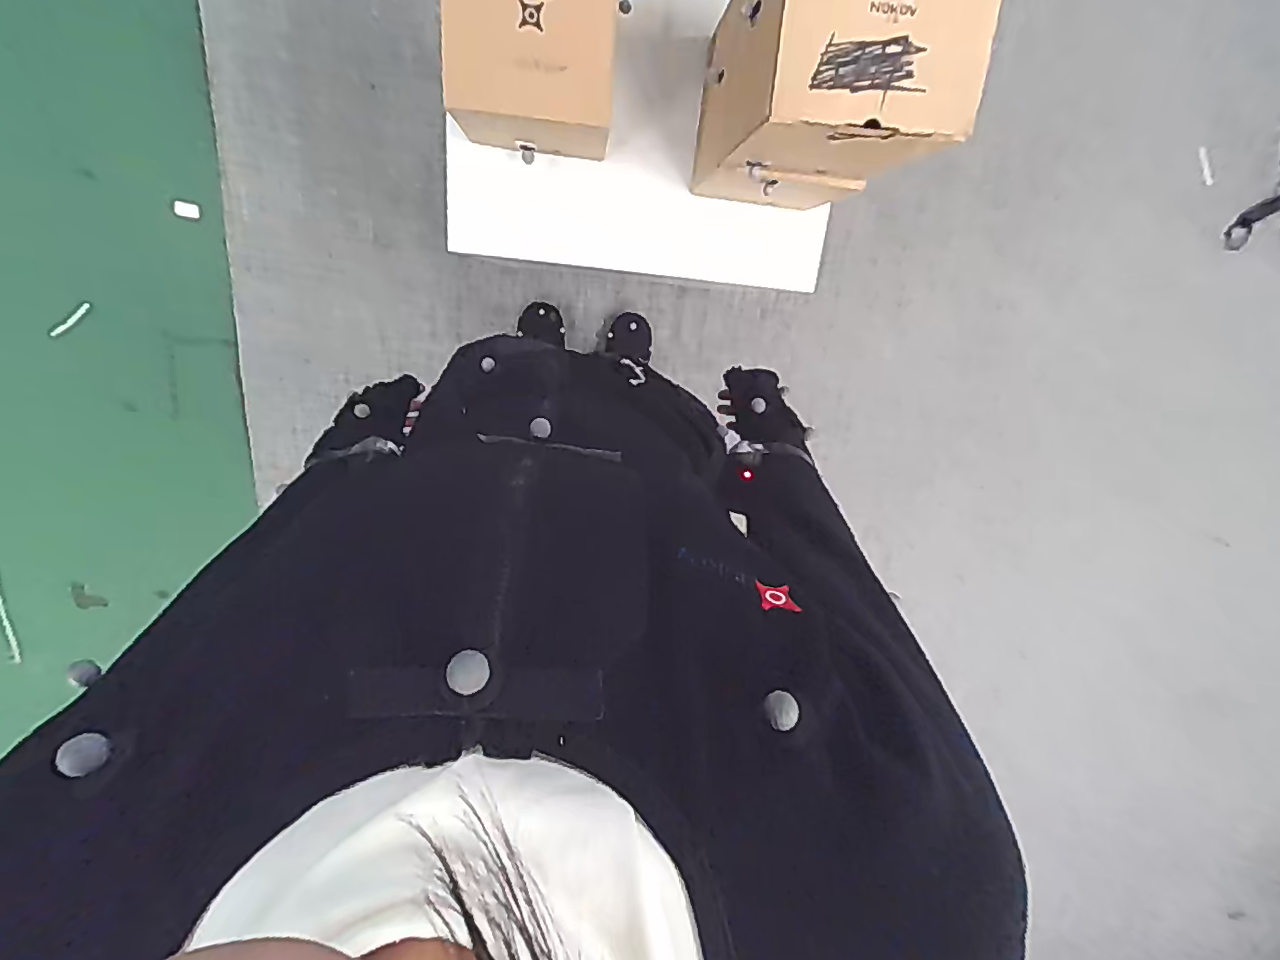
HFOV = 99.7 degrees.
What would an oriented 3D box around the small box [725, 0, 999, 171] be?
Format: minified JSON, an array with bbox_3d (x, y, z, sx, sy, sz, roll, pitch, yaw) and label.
[{"bbox_3d":[0.175,-0.380,0.462,0.168,0.176,0.179,2,109,-5],"label":"small box"}]

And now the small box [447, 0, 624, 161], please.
[{"bbox_3d":[-0.105,-0.466,0.583,0.168,0.176,0.179,2,111,-6],"label":"small box"}]

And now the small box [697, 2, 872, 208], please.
[{"bbox_3d":[0.167,-0.428,0.619,0.168,0.176,0.179,4,109,-6],"label":"small box"}]
